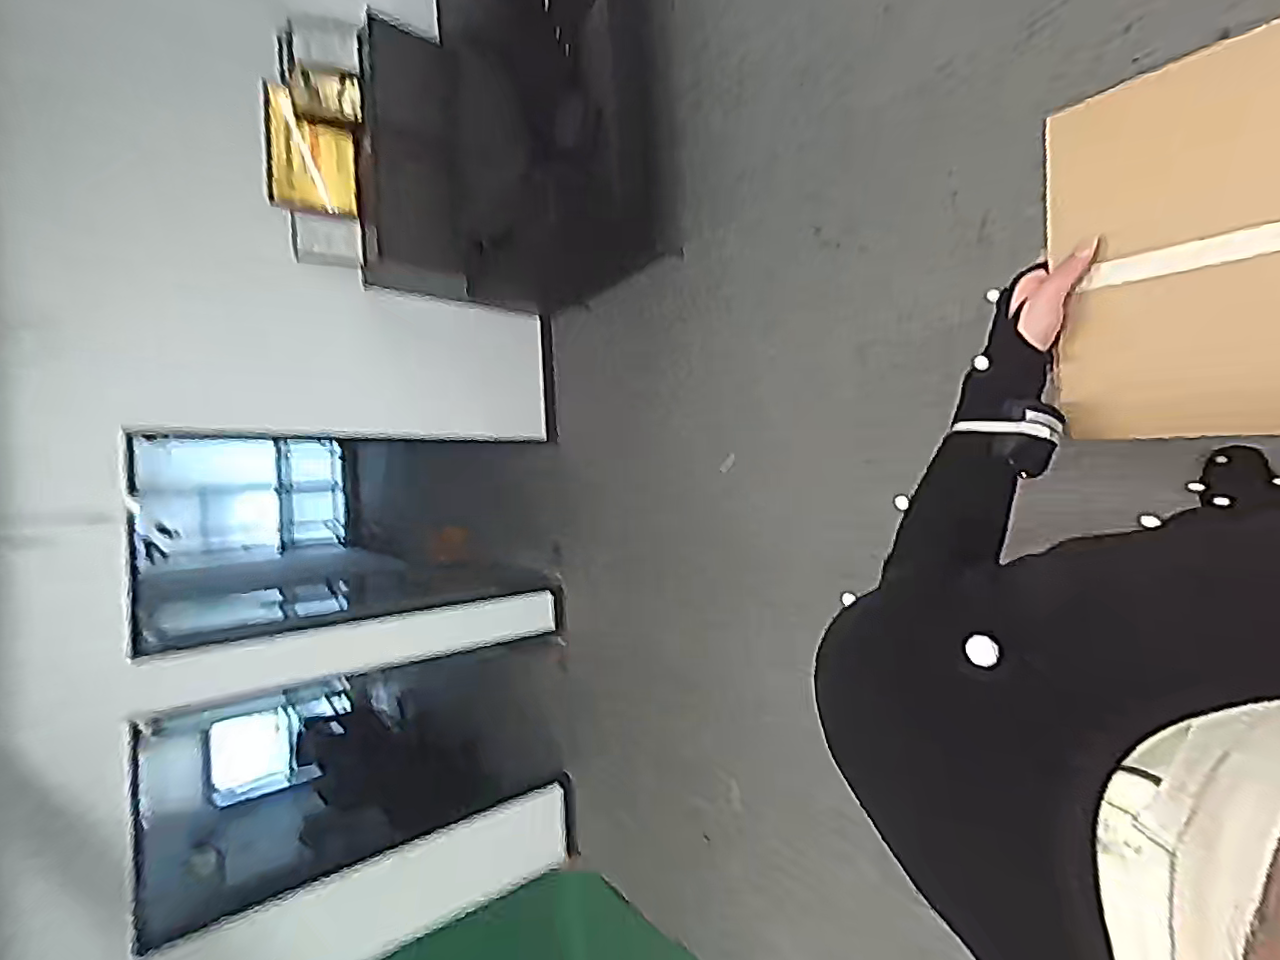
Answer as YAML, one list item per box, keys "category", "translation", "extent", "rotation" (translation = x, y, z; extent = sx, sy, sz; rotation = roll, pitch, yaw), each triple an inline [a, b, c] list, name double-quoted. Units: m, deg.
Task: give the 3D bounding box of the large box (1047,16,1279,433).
- category: "large box"
  translation: [0.651, -0.225, 0.474]
  extent: [0.408, 0.320, 0.320]
  rotation: [0, 100, 52]
